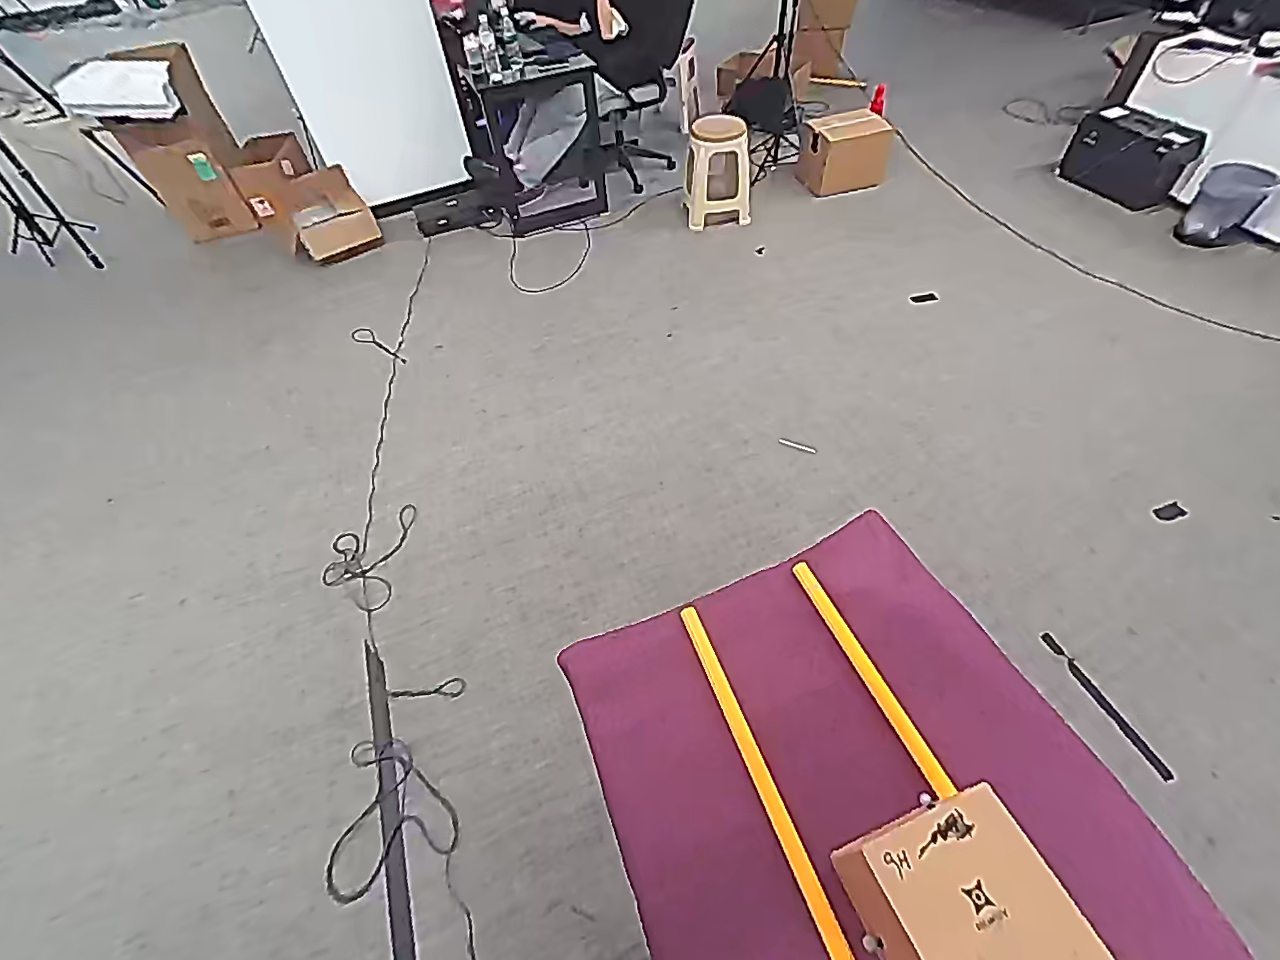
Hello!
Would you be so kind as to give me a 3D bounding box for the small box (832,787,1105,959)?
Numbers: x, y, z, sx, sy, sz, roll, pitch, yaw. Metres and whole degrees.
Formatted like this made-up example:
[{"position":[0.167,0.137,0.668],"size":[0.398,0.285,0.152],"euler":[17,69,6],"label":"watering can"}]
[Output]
[{"position":[0.342,0.470,0.596],"size":[0.168,0.176,0.179],"euler":[-19,54,-9],"label":"small box"}]
